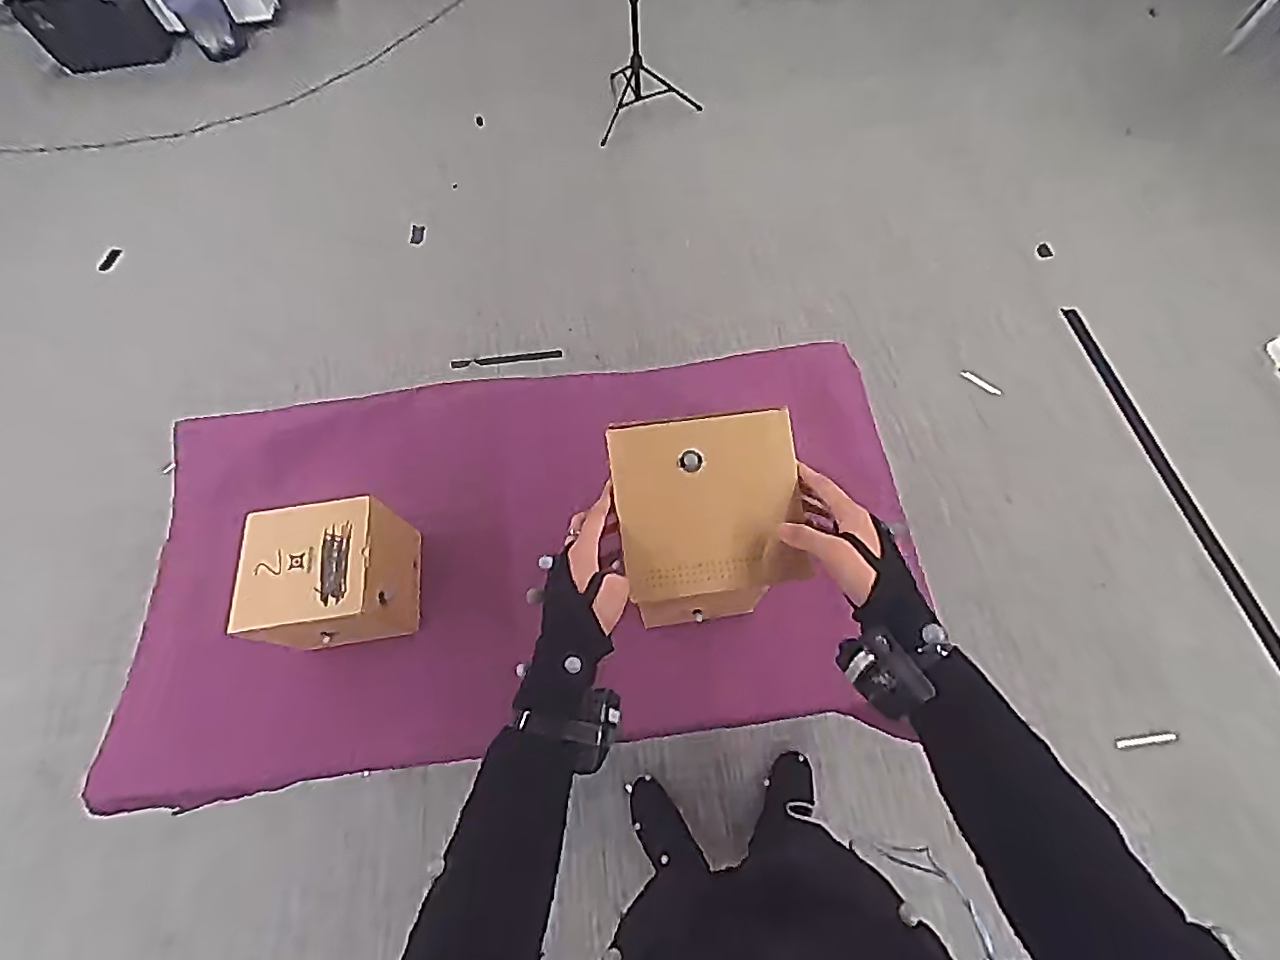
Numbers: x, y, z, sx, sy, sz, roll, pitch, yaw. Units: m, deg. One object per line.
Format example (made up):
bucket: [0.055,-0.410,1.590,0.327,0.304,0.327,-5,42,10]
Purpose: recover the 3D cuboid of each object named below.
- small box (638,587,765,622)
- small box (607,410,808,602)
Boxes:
small box: [0.075,0.104,0.784,0.168,0.176,0.179,-7,65,-1]
small box: [0.064,0.033,0.587,0.179,0.168,0.176,-7,85,-2]
